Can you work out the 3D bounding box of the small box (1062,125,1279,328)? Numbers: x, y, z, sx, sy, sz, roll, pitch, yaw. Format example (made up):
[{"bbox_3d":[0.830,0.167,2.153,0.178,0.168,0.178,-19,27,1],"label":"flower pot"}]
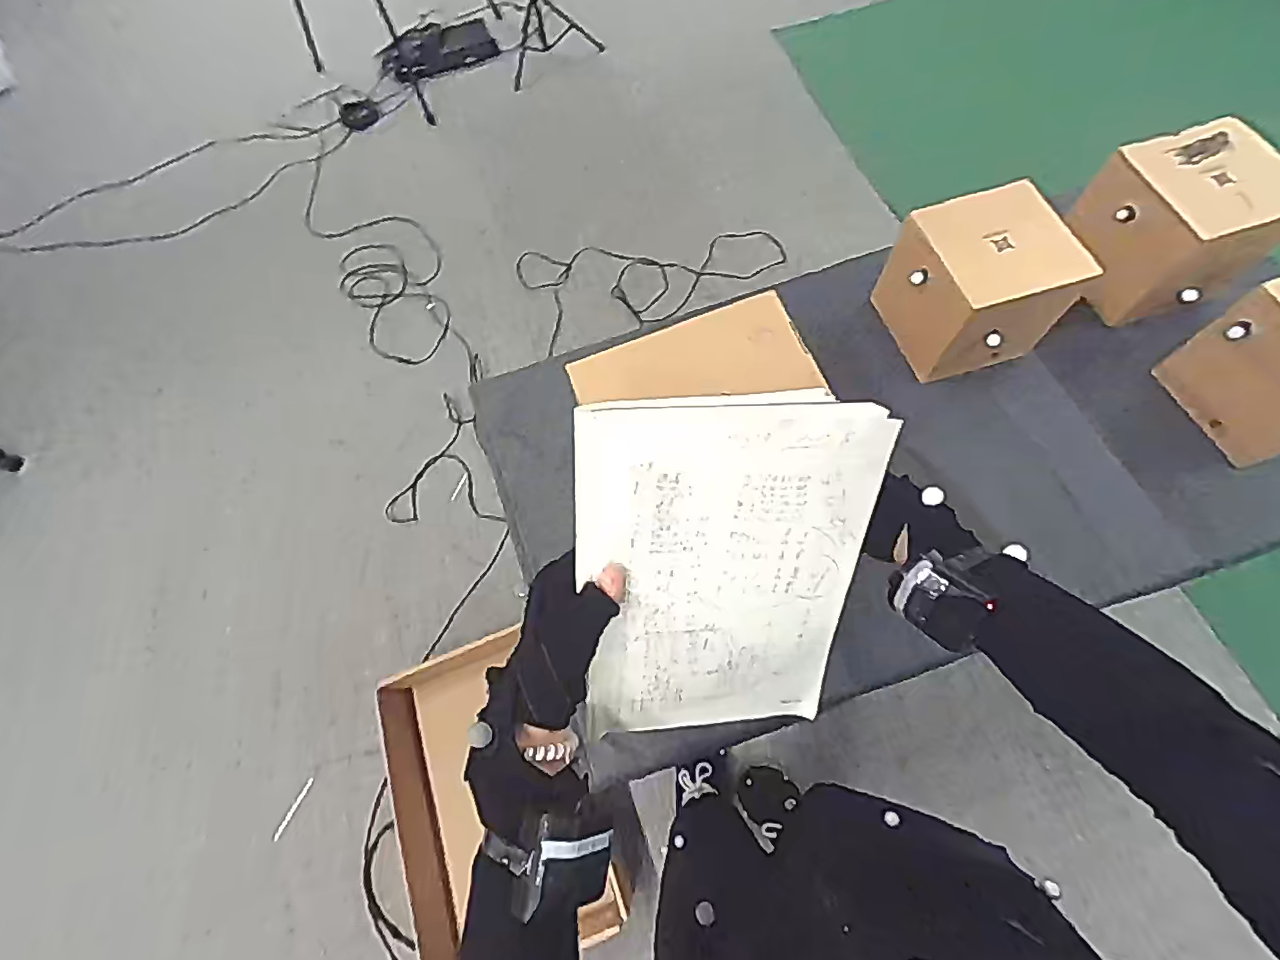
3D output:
[{"bbox_3d":[0.736,-0.348,0.761,0.168,0.176,0.179,-16,66,-1],"label":"small box"}]

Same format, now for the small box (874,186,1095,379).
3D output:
[{"bbox_3d":[0.459,-0.262,0.756,0.168,0.176,0.179,-16,65,-1],"label":"small box"}]

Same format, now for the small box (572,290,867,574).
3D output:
[{"bbox_3d":[0.055,-0.028,0.474,0.179,0.176,0.168,-21,76,-6],"label":"small box"}]
